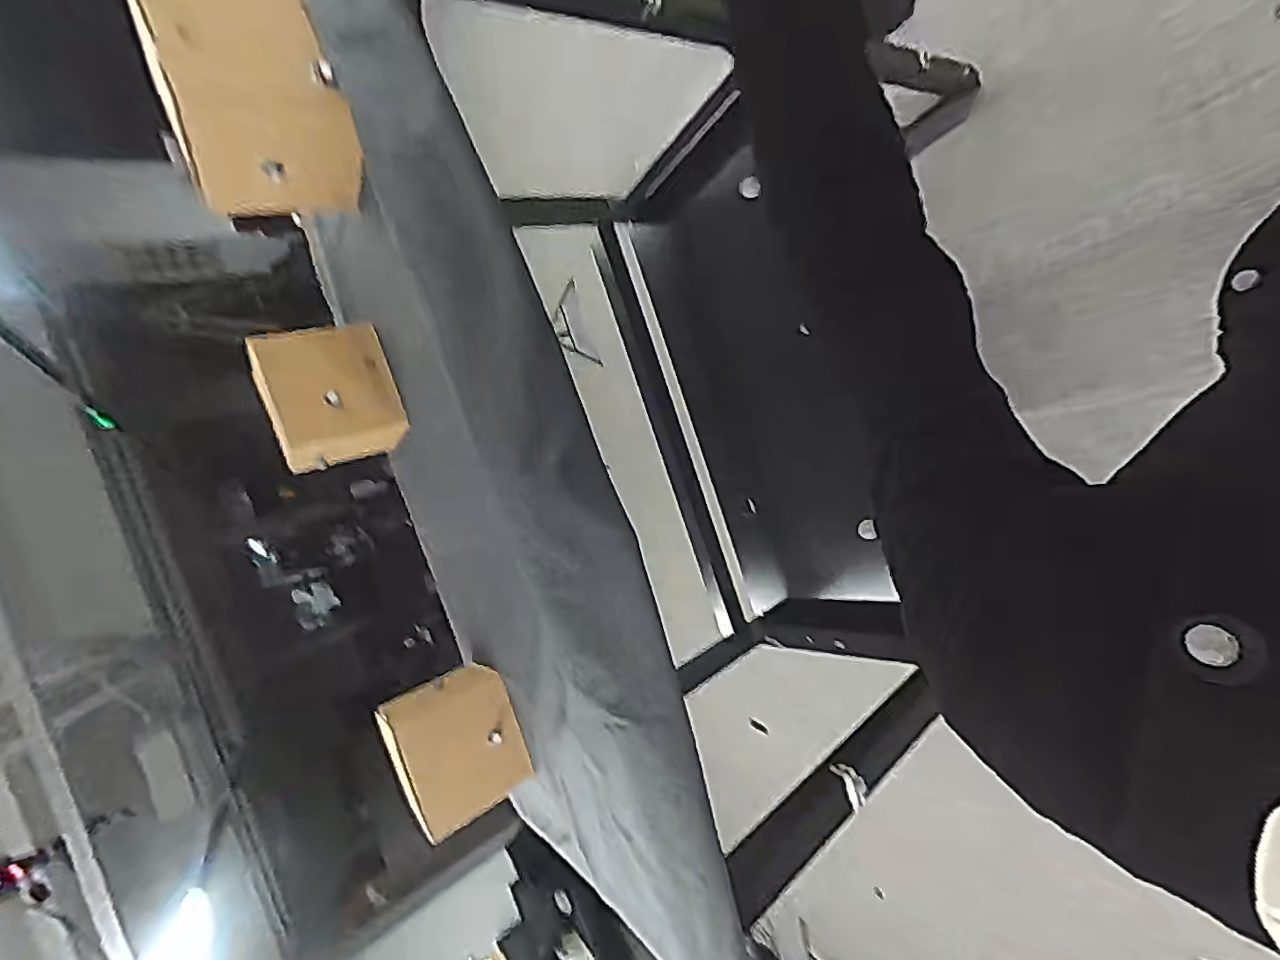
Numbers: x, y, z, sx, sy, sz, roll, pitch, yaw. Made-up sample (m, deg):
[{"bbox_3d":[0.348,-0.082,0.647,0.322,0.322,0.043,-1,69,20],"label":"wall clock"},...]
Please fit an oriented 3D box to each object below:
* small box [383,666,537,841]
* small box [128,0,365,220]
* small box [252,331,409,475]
[{"bbox_3d":[-0.290,0.419,0.870,0.168,0.176,0.179,-21,89,57],"label":"small box"},{"bbox_3d":[-0.423,-0.421,0.603,0.179,0.176,0.168,-22,89,58],"label":"small box"},{"bbox_3d":[-0.488,-0.123,0.864,0.179,0.176,0.168,-18,92,57],"label":"small box"}]
